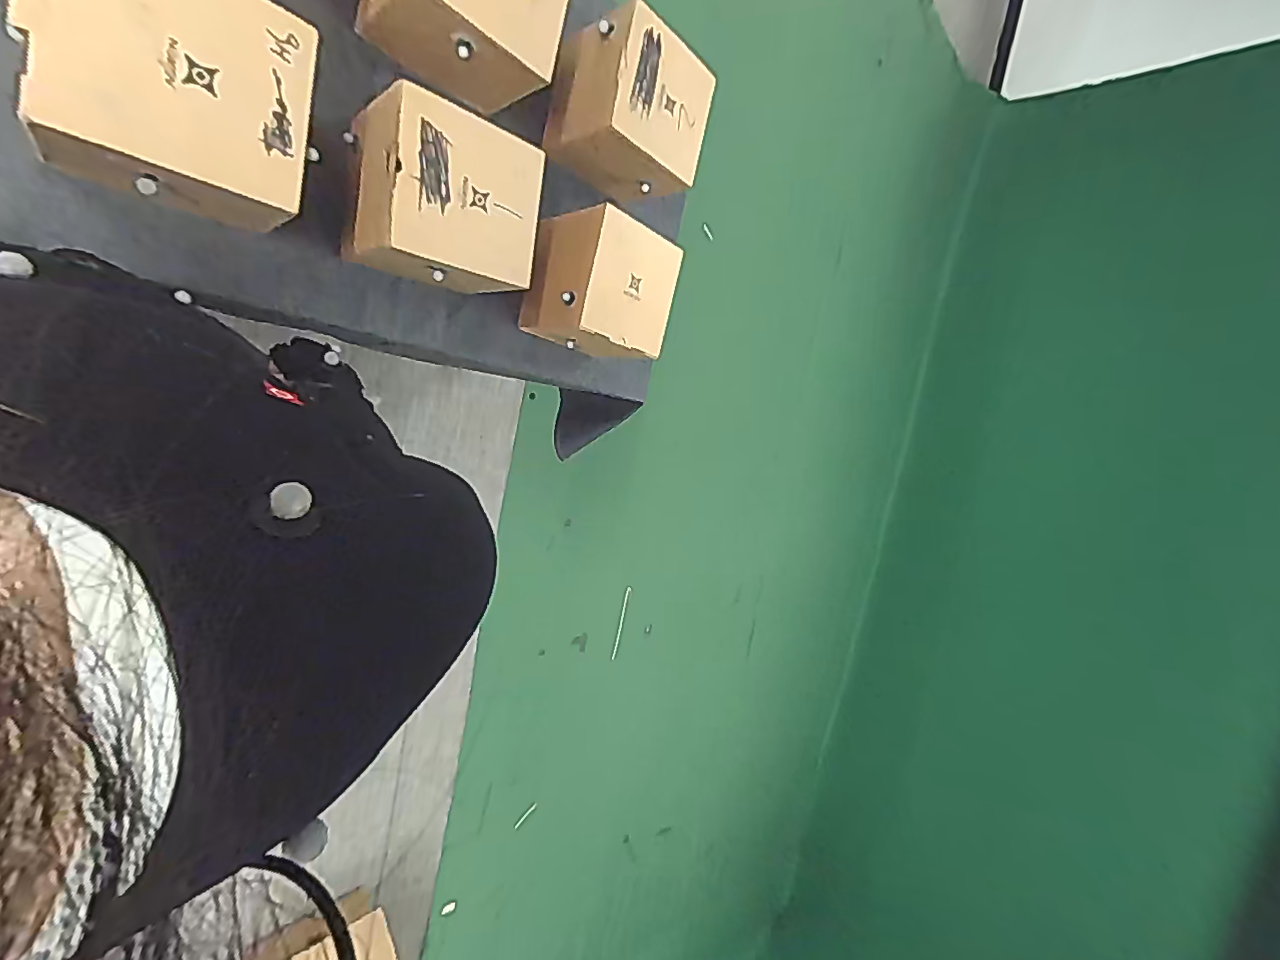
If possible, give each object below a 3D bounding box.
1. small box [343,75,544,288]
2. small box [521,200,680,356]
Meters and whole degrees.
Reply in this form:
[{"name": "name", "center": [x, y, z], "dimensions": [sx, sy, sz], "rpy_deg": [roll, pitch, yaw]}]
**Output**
[{"name": "small box", "center": [-0.244, -0.339, 0.662], "dimensions": [0.179, 0.176, 0.168], "rpy_deg": [0, 102, -45]}, {"name": "small box", "center": [-0.066, -0.305, 0.851], "dimensions": [0.168, 0.176, 0.179], "rpy_deg": [9, 96, -45]}]
